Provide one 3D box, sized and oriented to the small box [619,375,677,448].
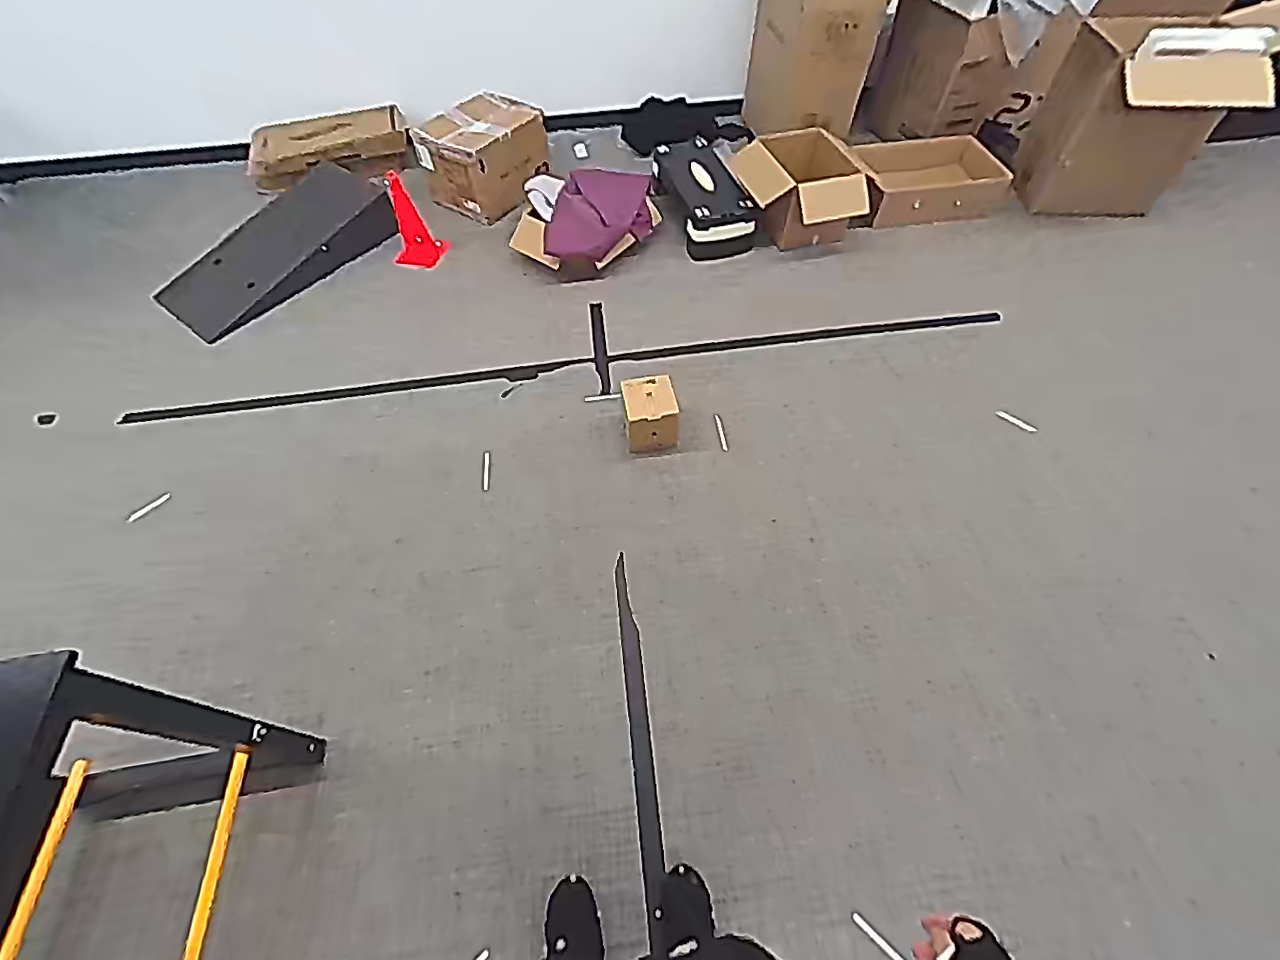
[{"bbox_3d":[0.027,-0.219,1.801,0.168,0.176,0.179,-9,57,-4],"label":"small box"}]
